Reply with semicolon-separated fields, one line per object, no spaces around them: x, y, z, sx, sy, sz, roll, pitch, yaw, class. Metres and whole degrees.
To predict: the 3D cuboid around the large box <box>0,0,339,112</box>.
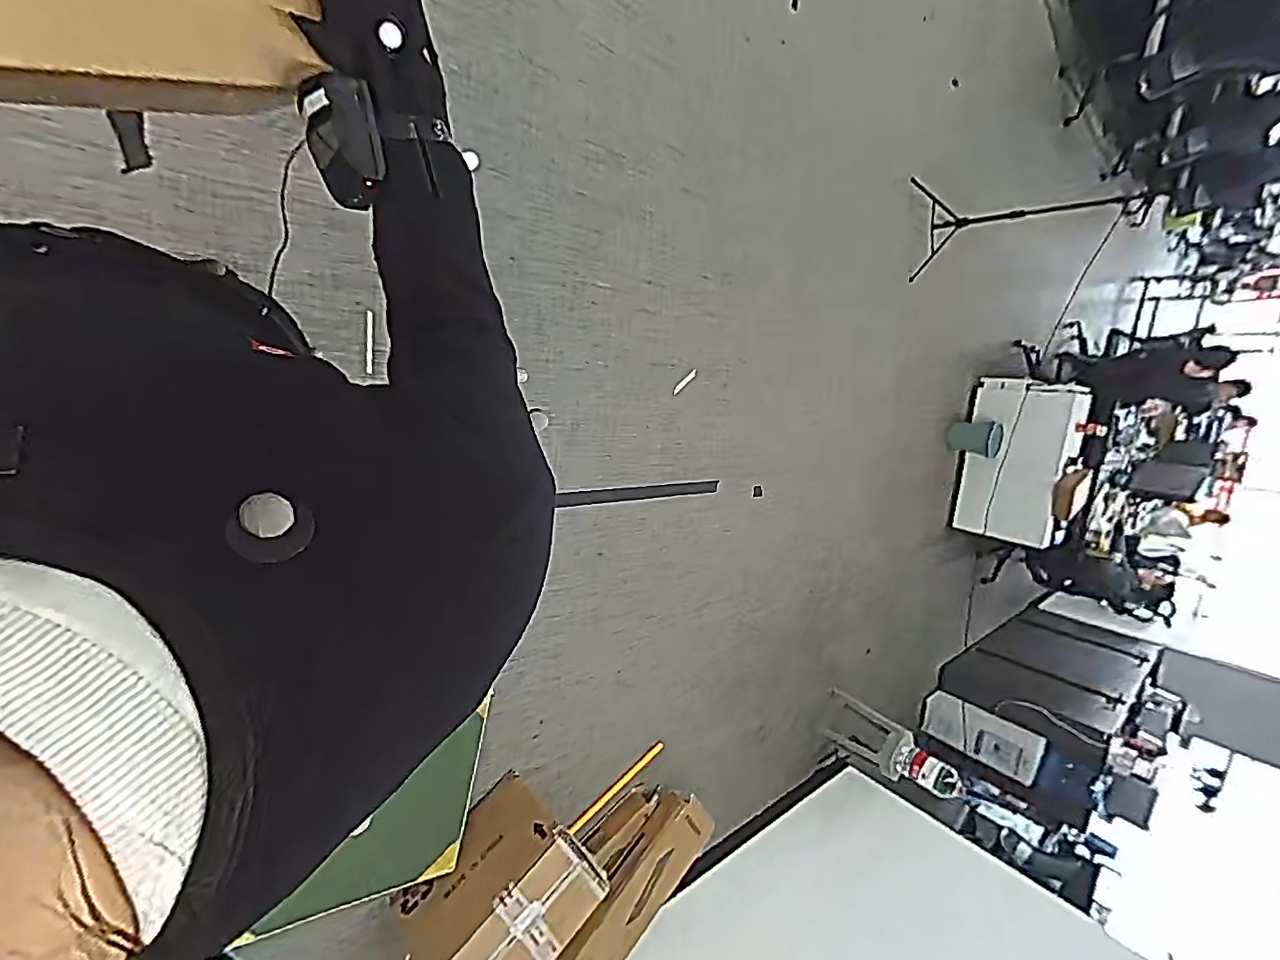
-0.451;-0.395;0.281;0.408;0.320;0.320;-22;128;-34;large box
